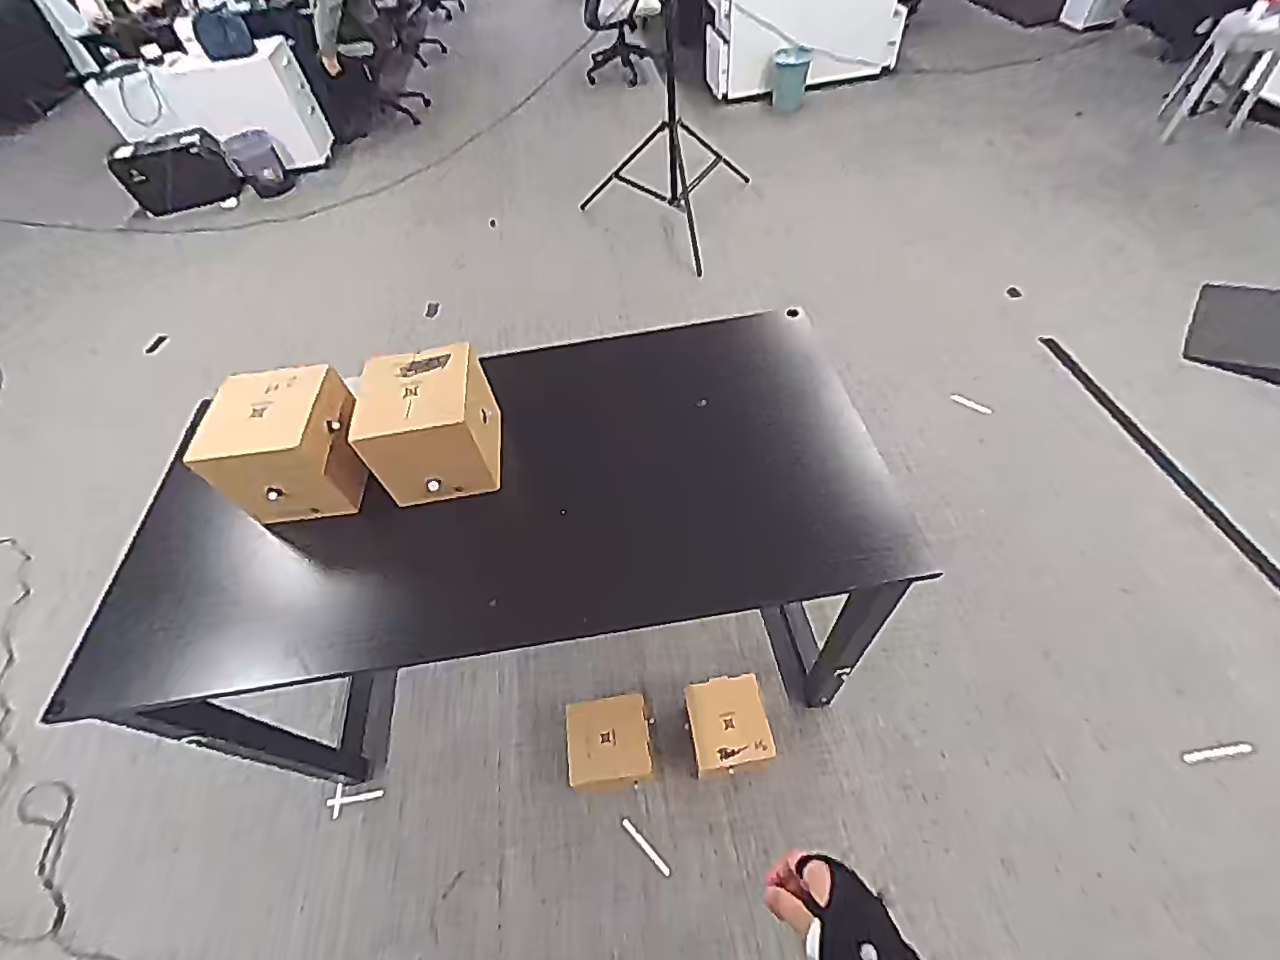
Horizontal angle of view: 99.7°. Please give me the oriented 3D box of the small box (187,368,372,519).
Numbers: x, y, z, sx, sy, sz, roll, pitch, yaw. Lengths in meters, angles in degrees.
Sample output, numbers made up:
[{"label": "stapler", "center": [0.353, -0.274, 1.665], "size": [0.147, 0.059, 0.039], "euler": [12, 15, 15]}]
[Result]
[{"label": "small box", "center": [-0.550, -0.050, 0.863], "size": [0.168, 0.176, 0.179], "euler": [-7, 52, 1]}]

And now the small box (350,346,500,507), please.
[{"label": "small box", "center": [-0.328, -0.083, 0.862], "size": [0.168, 0.176, 0.179], "euler": [-10, 54, -2]}]

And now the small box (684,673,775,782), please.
[{"label": "small box", "center": [0.196, 0.564, 1.230], "size": [0.168, 0.176, 0.179], "euler": [-11, 52, -1]}]

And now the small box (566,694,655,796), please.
[{"label": "small box", "center": [-0.063, 0.606, 1.231], "size": [0.179, 0.176, 0.168], "euler": [-11, 52, 0]}]
